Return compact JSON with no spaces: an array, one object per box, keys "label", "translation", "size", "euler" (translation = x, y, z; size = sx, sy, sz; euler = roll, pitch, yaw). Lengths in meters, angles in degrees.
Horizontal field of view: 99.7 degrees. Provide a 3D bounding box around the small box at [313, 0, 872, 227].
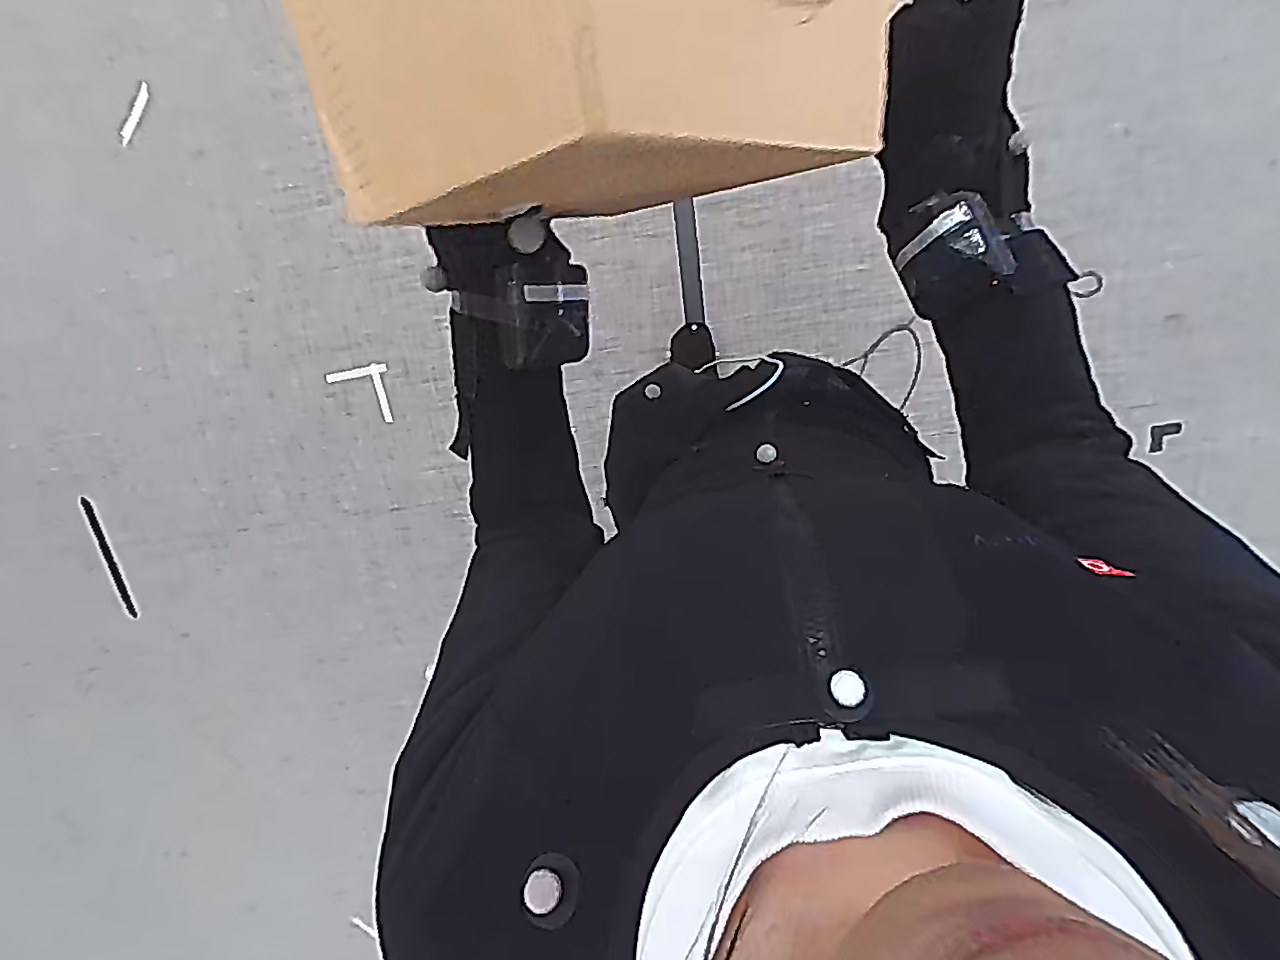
[{"label":"small box","translation":[-0.022,-0.212,0.217],"size":[0.176,0.168,0.179],"euler":[13,119,42]}]
